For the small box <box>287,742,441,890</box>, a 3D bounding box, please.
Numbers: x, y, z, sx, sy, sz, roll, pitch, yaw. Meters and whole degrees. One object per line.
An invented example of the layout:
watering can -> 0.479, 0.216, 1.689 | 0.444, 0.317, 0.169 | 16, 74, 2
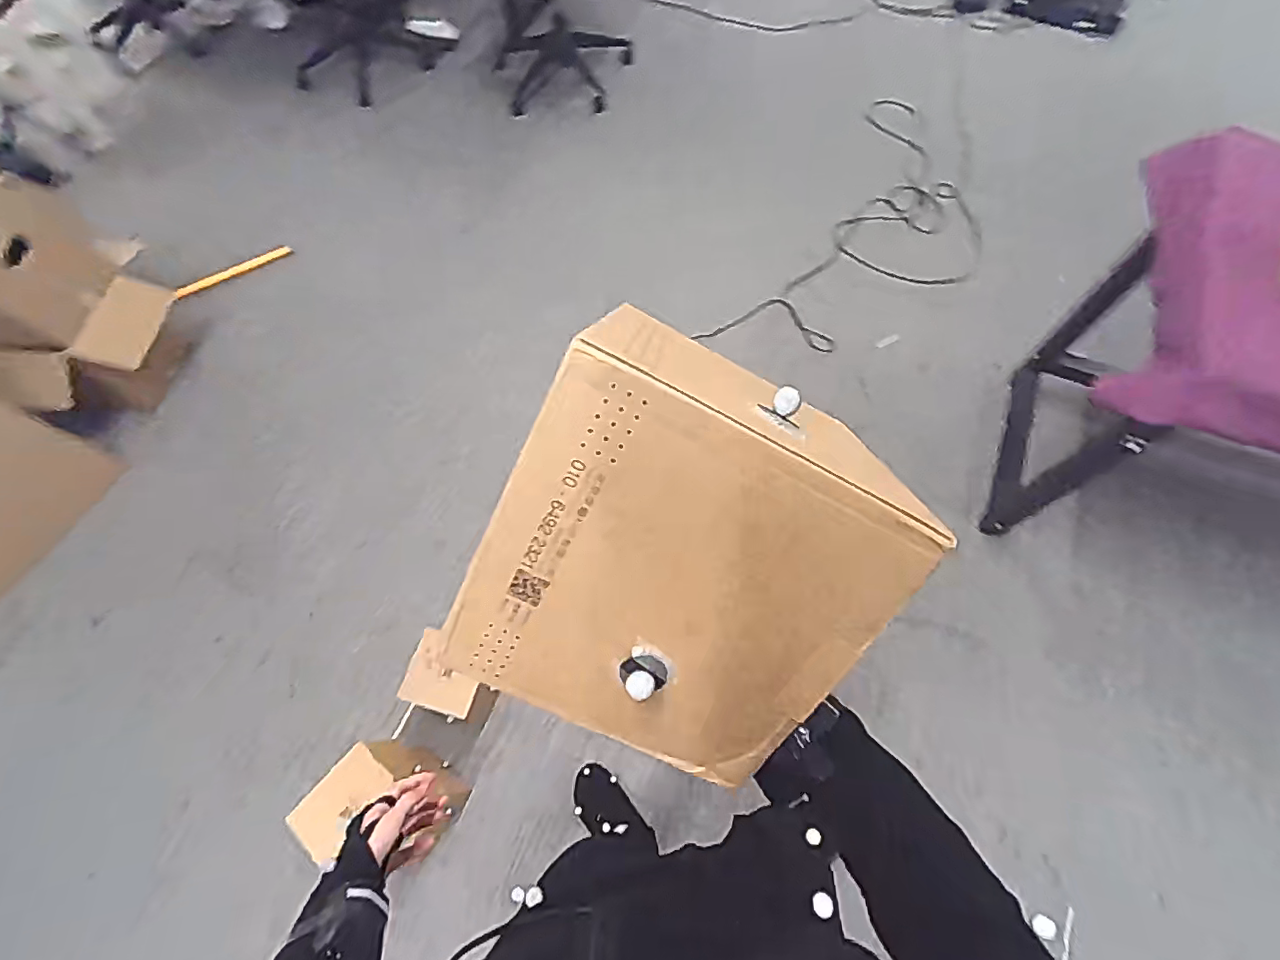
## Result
small box -> -0.528, 0.645, 1.062 | 0.168, 0.176, 0.179 | 36, 71, 19

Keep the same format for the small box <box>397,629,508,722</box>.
small box -> -0.442, 0.476, 1.312 | 0.179, 0.176, 0.168 | 13, 67, 10
